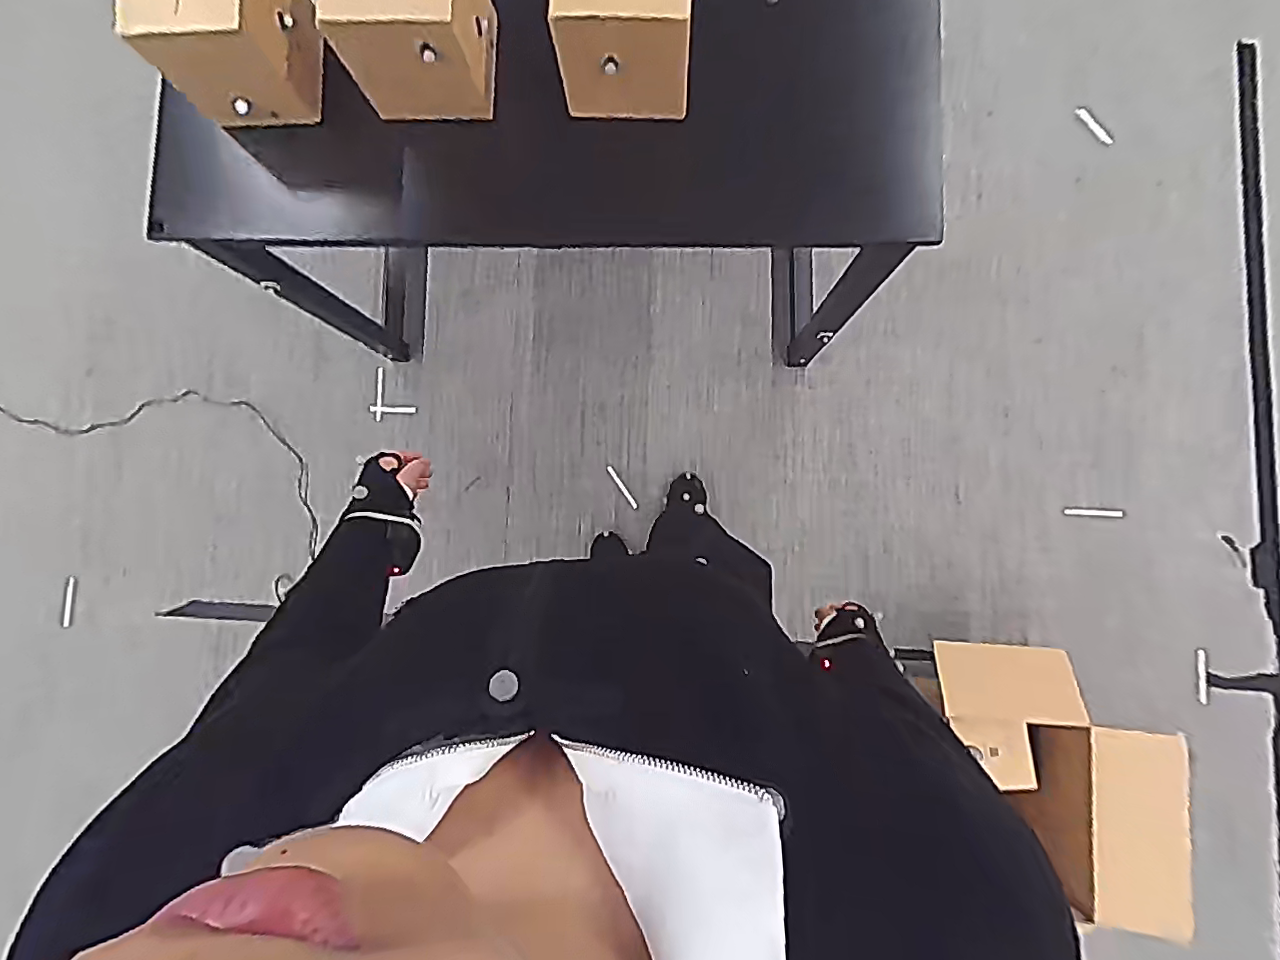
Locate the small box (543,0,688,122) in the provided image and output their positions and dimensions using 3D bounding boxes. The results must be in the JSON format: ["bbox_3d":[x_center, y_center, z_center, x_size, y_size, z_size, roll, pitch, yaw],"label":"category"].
[{"bbox_3d":[-0.025,-0.632,0.750,0.179,0.176,0.168,3,86,3],"label":"small box"}]

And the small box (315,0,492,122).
[{"bbox_3d":[-0.317,-0.639,0.760,0.179,0.176,0.168,1,85,2],"label":"small box"}]

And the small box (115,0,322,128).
[{"bbox_3d":[-0.584,-0.643,0.771,0.168,0.176,0.179,-1,87,2],"label":"small box"}]
